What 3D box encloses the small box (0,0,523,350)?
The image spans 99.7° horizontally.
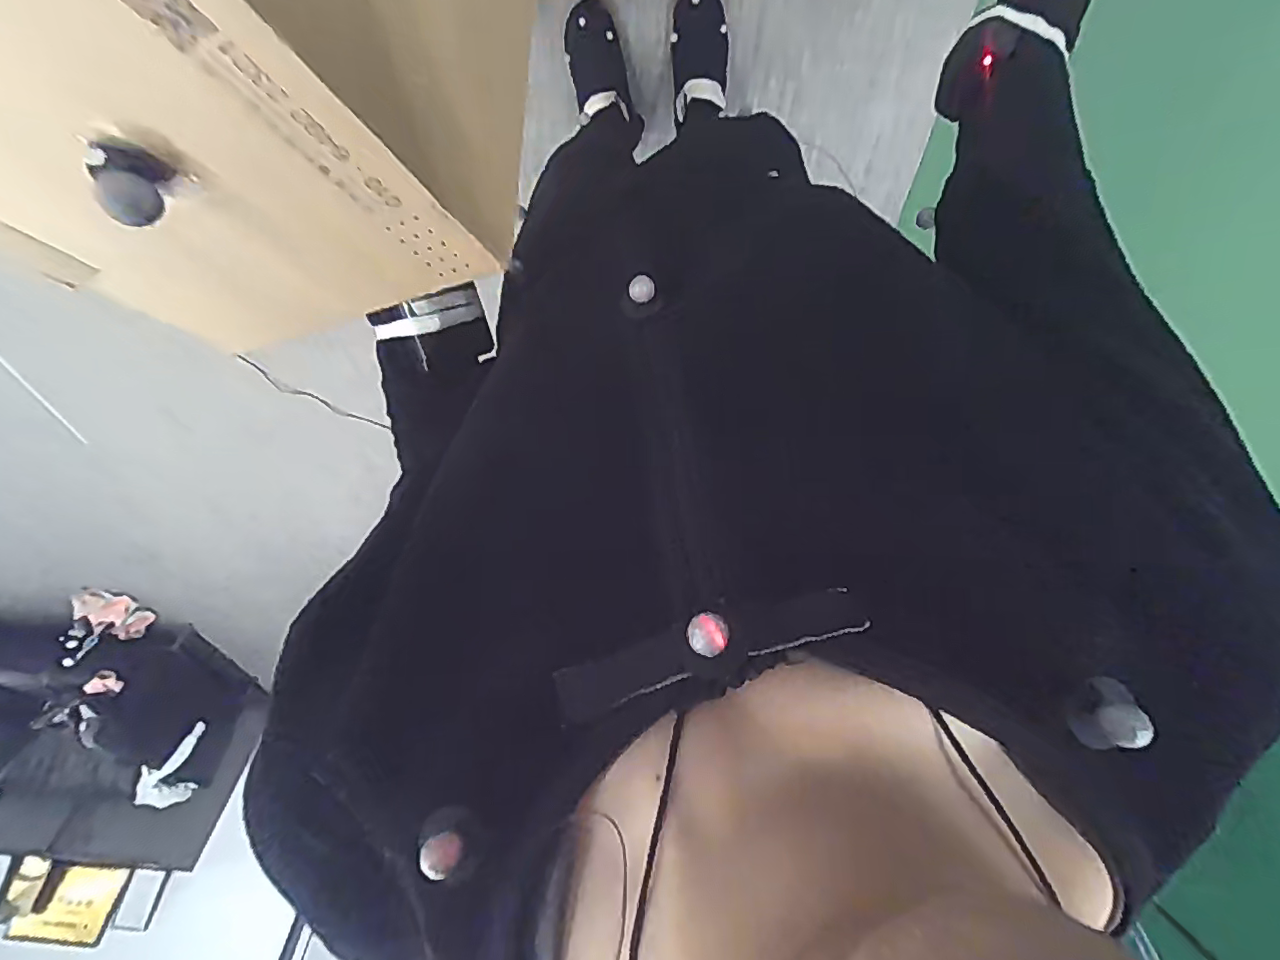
[{"bbox_3d":[-0.160,-0.177,0.198,0.176,0.179,0.168,-6,162,22],"label":"small box"}]
